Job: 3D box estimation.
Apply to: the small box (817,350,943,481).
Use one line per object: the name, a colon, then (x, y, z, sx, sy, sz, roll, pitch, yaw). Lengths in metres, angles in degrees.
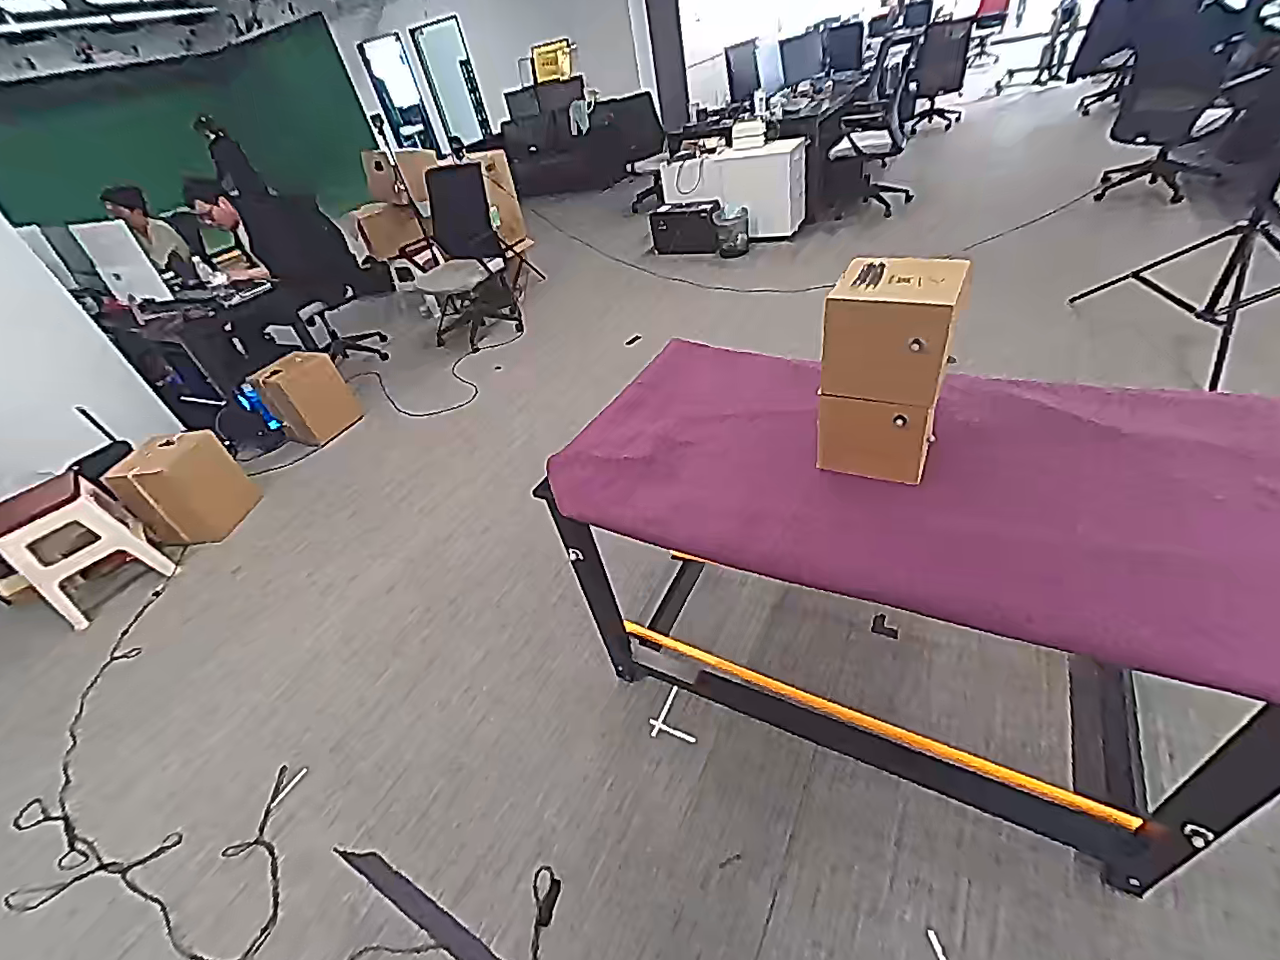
small box: (0.428, -0.118, 0.978, 0.179, 0.176, 0.168, 13, 45, 28)
